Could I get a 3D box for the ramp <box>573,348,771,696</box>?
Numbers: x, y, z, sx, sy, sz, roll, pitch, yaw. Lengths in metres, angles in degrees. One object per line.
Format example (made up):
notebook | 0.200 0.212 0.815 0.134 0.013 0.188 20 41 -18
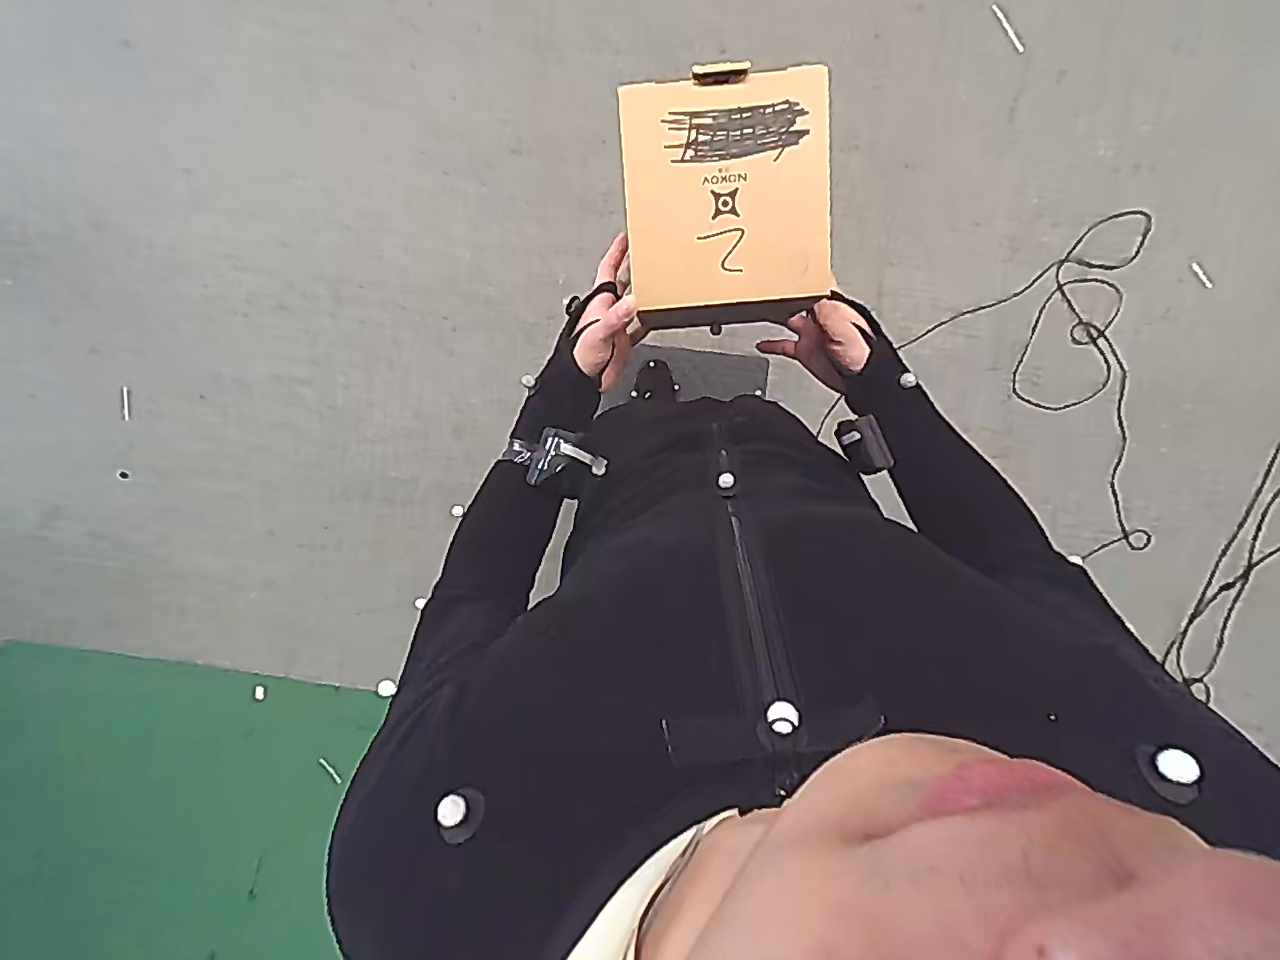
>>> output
ramp | 0.094 0.122 1.613 0.509 0.206 0.991 5 100 2
